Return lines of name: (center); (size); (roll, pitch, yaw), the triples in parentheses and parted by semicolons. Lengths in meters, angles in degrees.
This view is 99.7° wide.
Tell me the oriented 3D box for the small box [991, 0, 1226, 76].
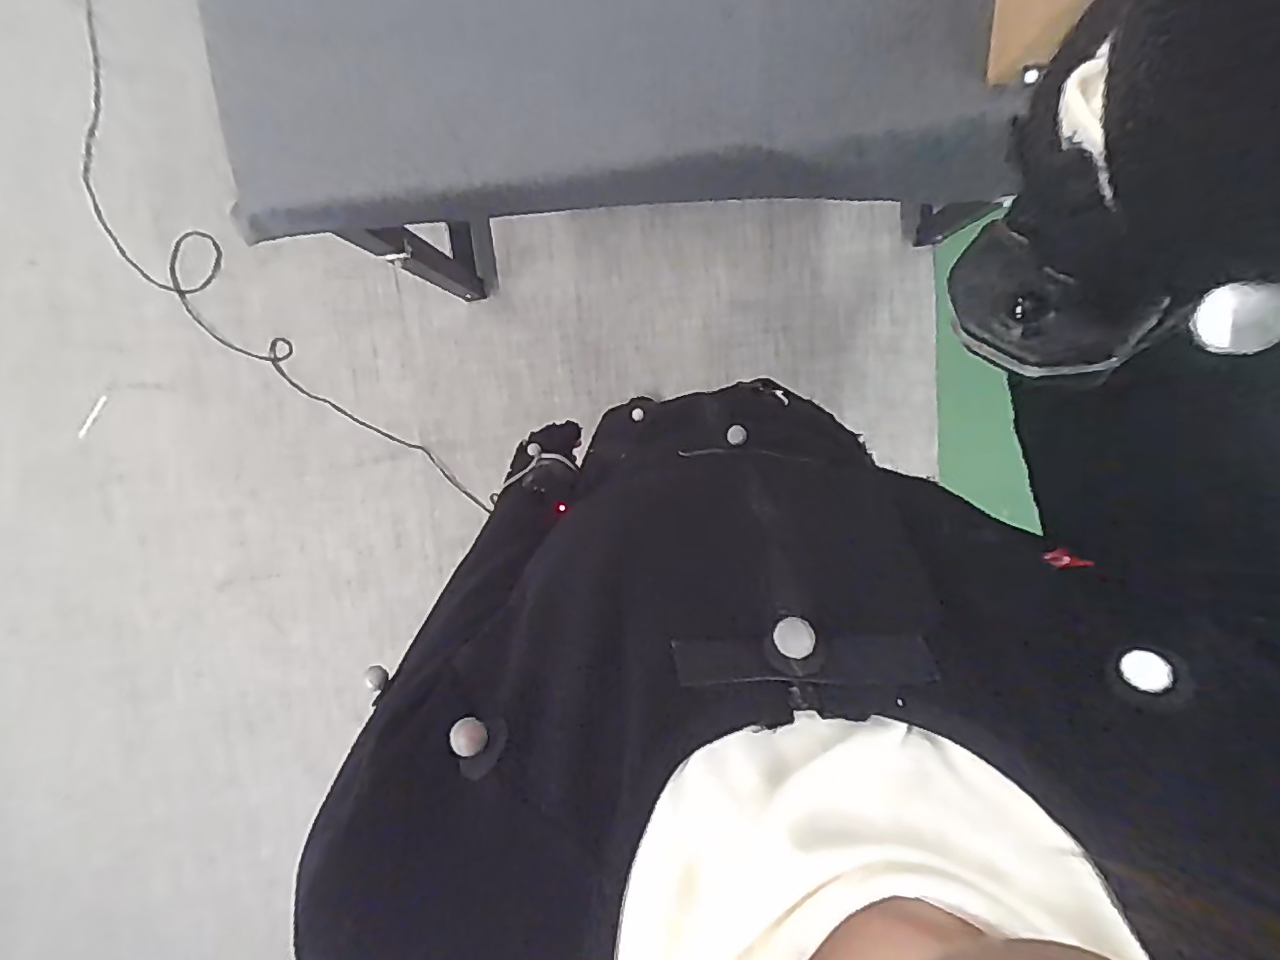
small box: (0.475, -0.530, 0.522); (0.168, 0.176, 0.179); (2, 97, 2)
